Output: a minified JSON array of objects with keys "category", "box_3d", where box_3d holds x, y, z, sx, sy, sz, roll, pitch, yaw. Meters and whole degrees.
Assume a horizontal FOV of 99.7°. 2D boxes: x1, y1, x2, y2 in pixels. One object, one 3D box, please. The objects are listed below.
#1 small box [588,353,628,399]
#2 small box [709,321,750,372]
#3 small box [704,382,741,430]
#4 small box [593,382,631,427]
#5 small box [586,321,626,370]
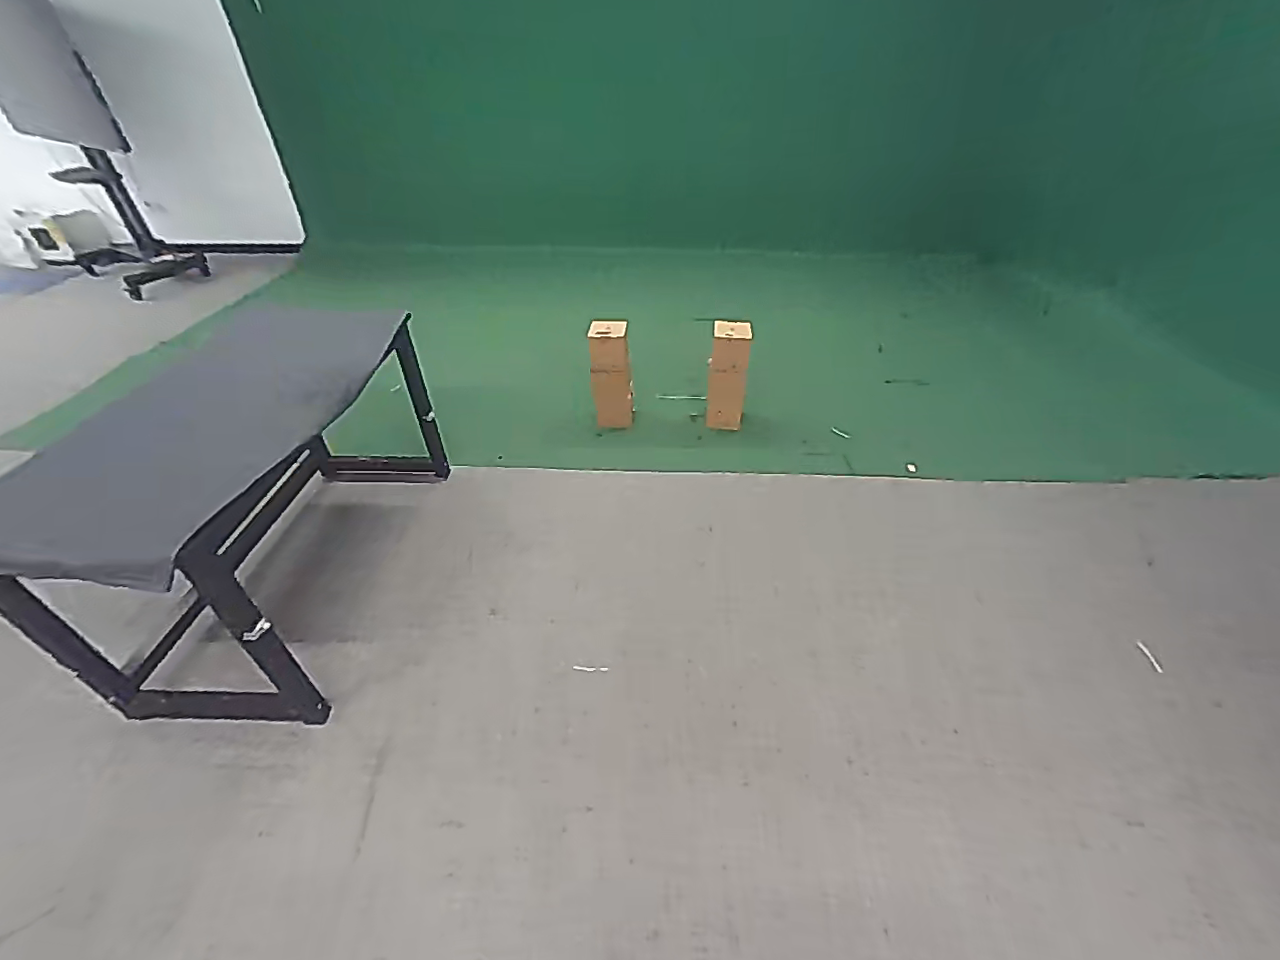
[{"category":"small box","box_3d":[-0.152,-0.504,2.615,0.179,0.176,0.168,3,41,3]},{"category":"small box","box_3d":[0.409,-0.616,2.494,0.168,0.176,0.179,5,39,4]},{"category":"small box","box_3d":[0.415,-0.369,2.711,0.168,0.176,0.179,7,40,8]},{"category":"small box","box_3d":[-0.139,-0.380,2.718,0.179,0.176,0.168,1,41,1]},{"category":"small box","box_3d":[-0.152,-0.623,2.500,0.168,0.176,0.179,2,40,3]}]
